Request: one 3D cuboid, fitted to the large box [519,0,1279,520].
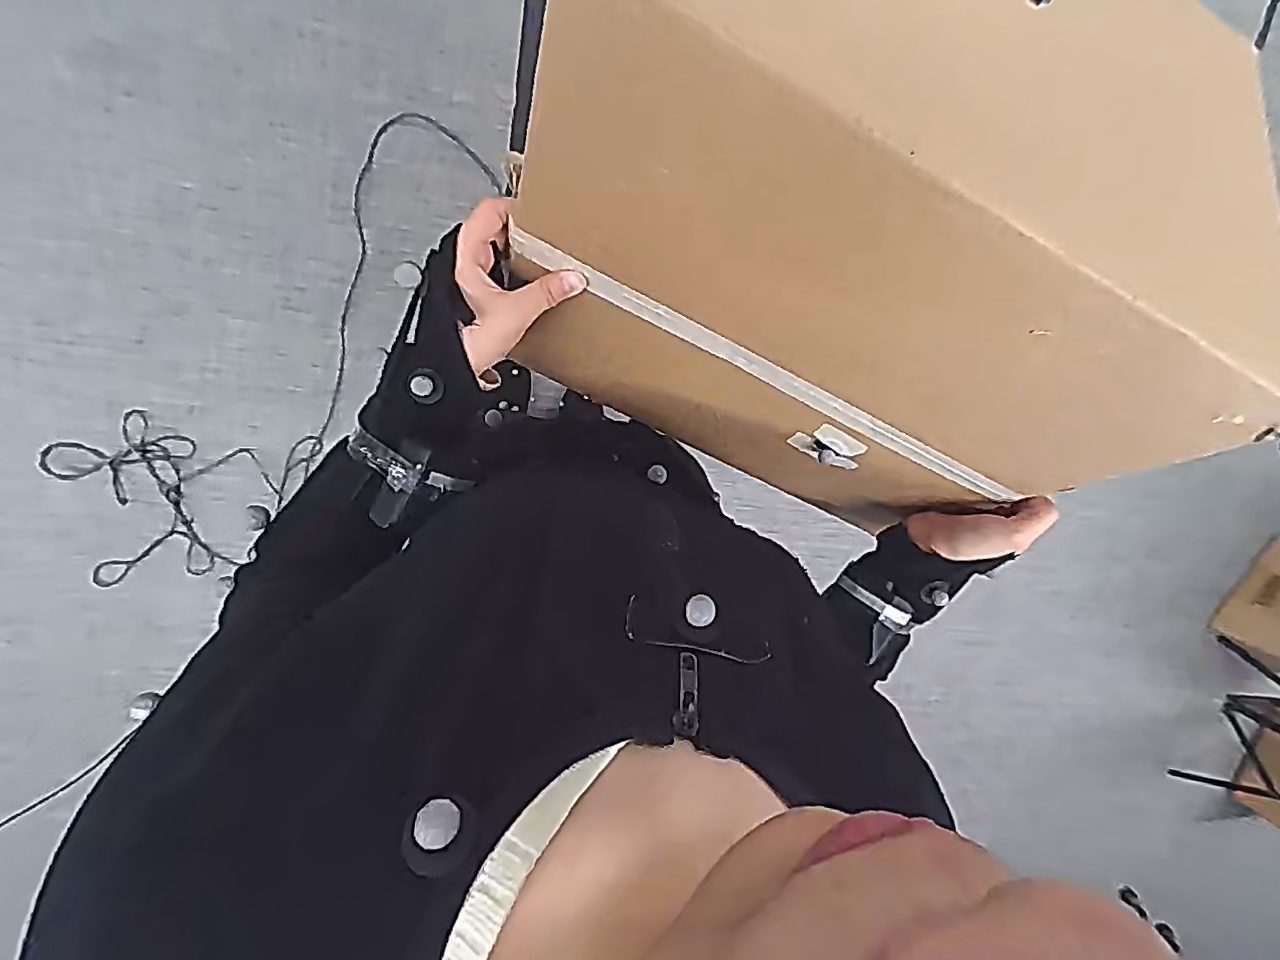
[{"bbox_3d":[0.166,-0.212,0.398,0.408,0.320,0.320,24,69,-11],"label":"large box"}]
